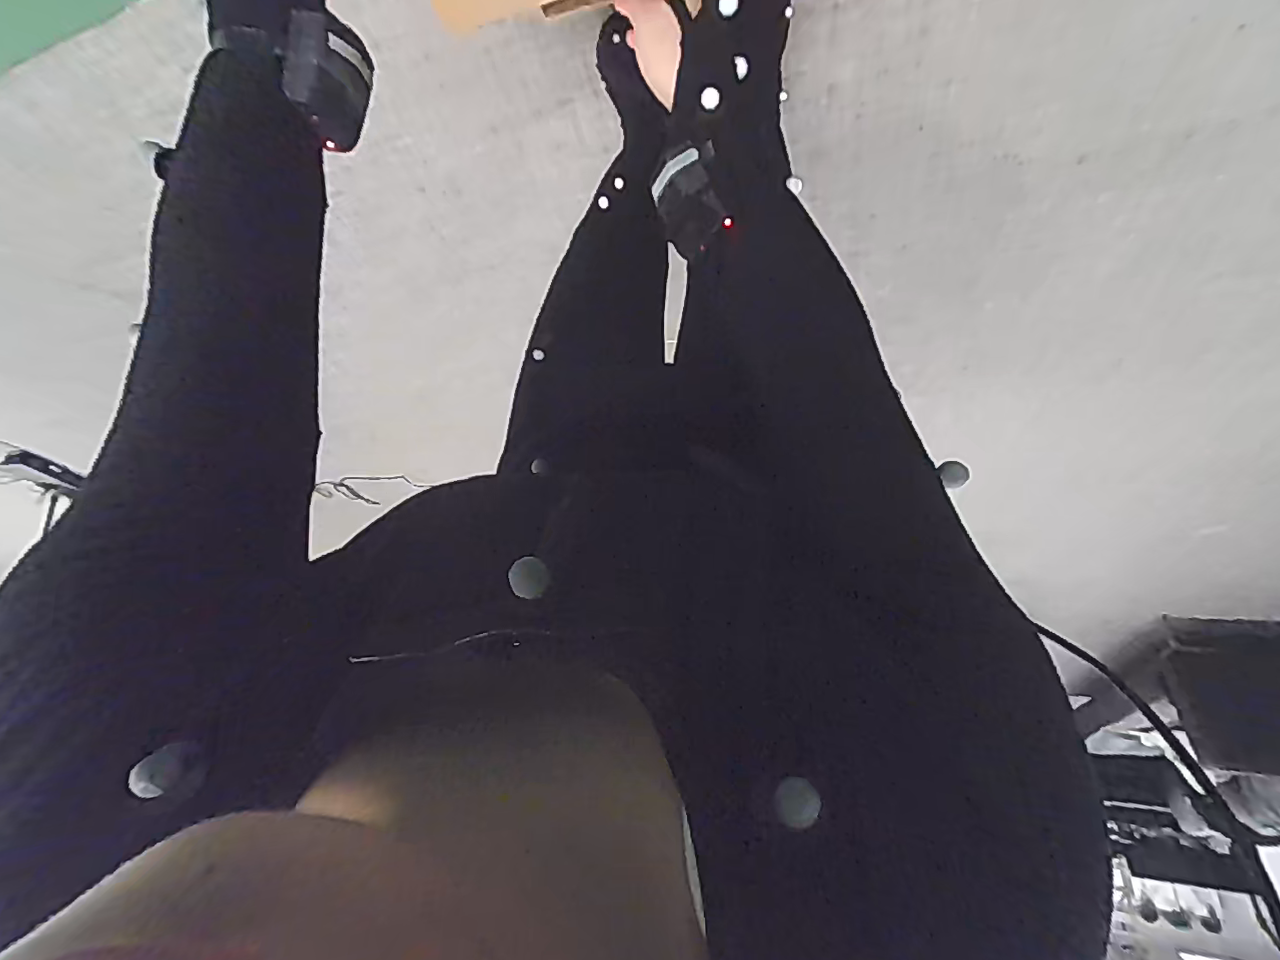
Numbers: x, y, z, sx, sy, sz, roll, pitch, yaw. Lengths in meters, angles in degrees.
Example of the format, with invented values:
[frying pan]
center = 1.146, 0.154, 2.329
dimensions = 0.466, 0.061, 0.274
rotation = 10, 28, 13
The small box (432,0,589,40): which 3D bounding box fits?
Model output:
[small box]
center = -0.096, -0.493, 0.413
dimensions = 0.179, 0.176, 0.168
rotation = -3, 151, 16
